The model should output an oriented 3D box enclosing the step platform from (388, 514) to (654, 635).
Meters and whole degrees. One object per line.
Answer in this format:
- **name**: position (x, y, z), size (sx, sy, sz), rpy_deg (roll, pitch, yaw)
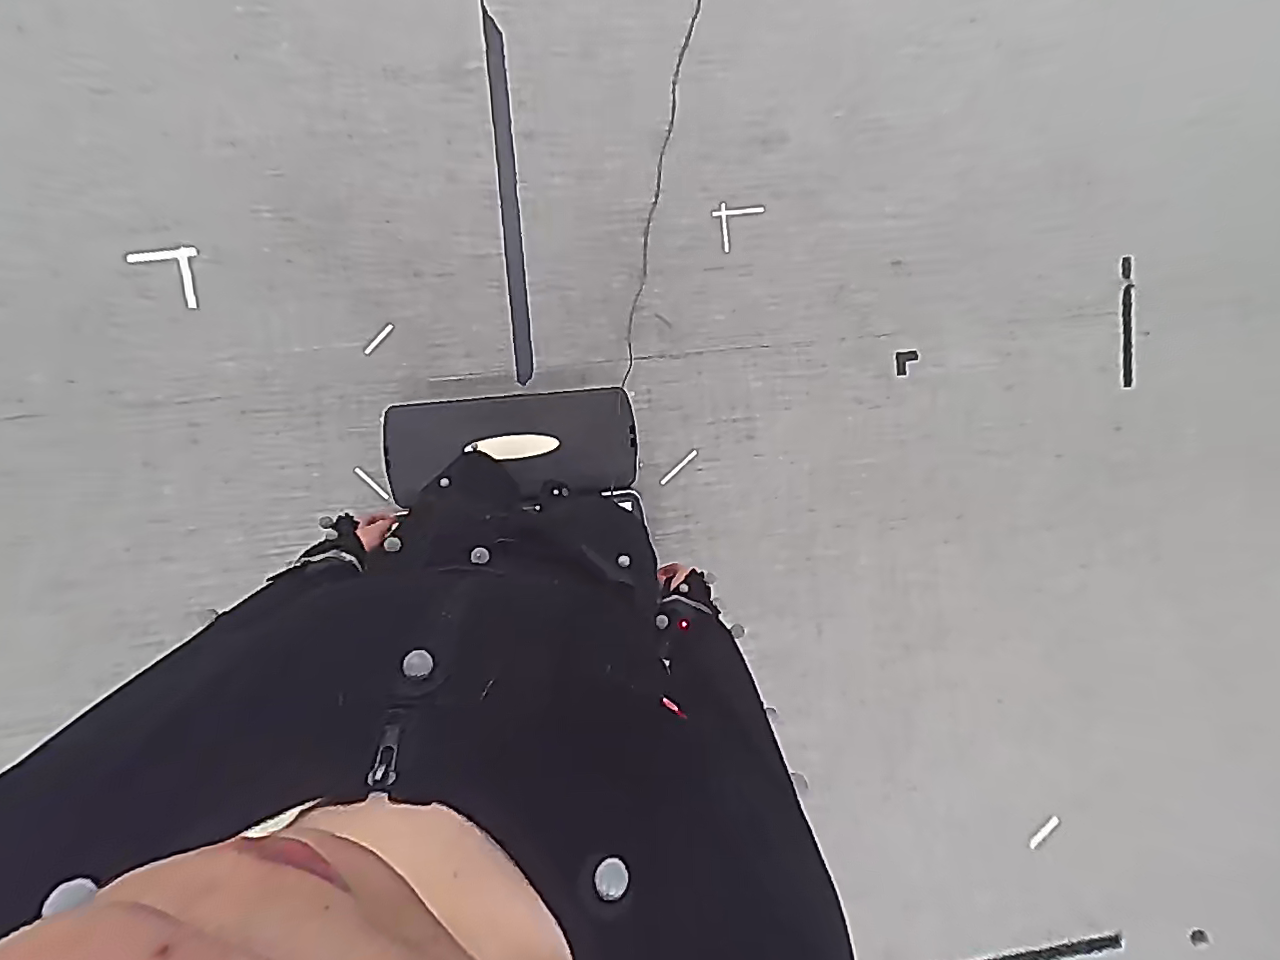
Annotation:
- **step platform**: position (-0.302, 0.247, 1.447), size (0.684, 0.204, 0.286), rpy_deg (-1, 91, -3)
